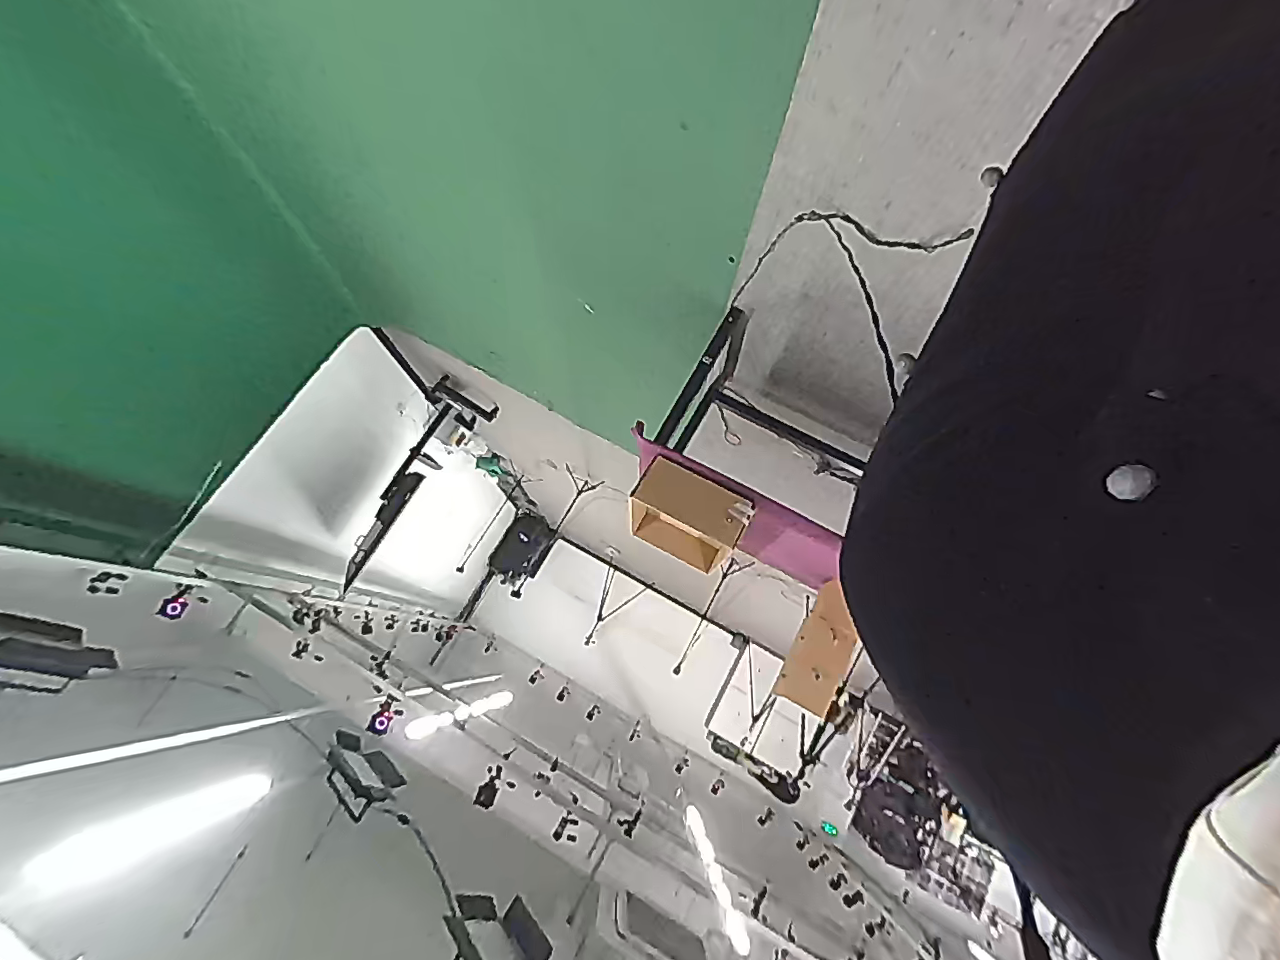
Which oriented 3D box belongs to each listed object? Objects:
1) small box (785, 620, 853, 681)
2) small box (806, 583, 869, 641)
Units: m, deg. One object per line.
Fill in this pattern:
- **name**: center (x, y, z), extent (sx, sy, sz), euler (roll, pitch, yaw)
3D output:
- **small box**: center (0.695, 0.656, 2.094), extent (0.168, 0.176, 0.179), euler (29, 163, 5)
- **small box**: center (0.781, 0.522, 2.137), extent (0.168, 0.176, 0.179), euler (28, 164, 10)
